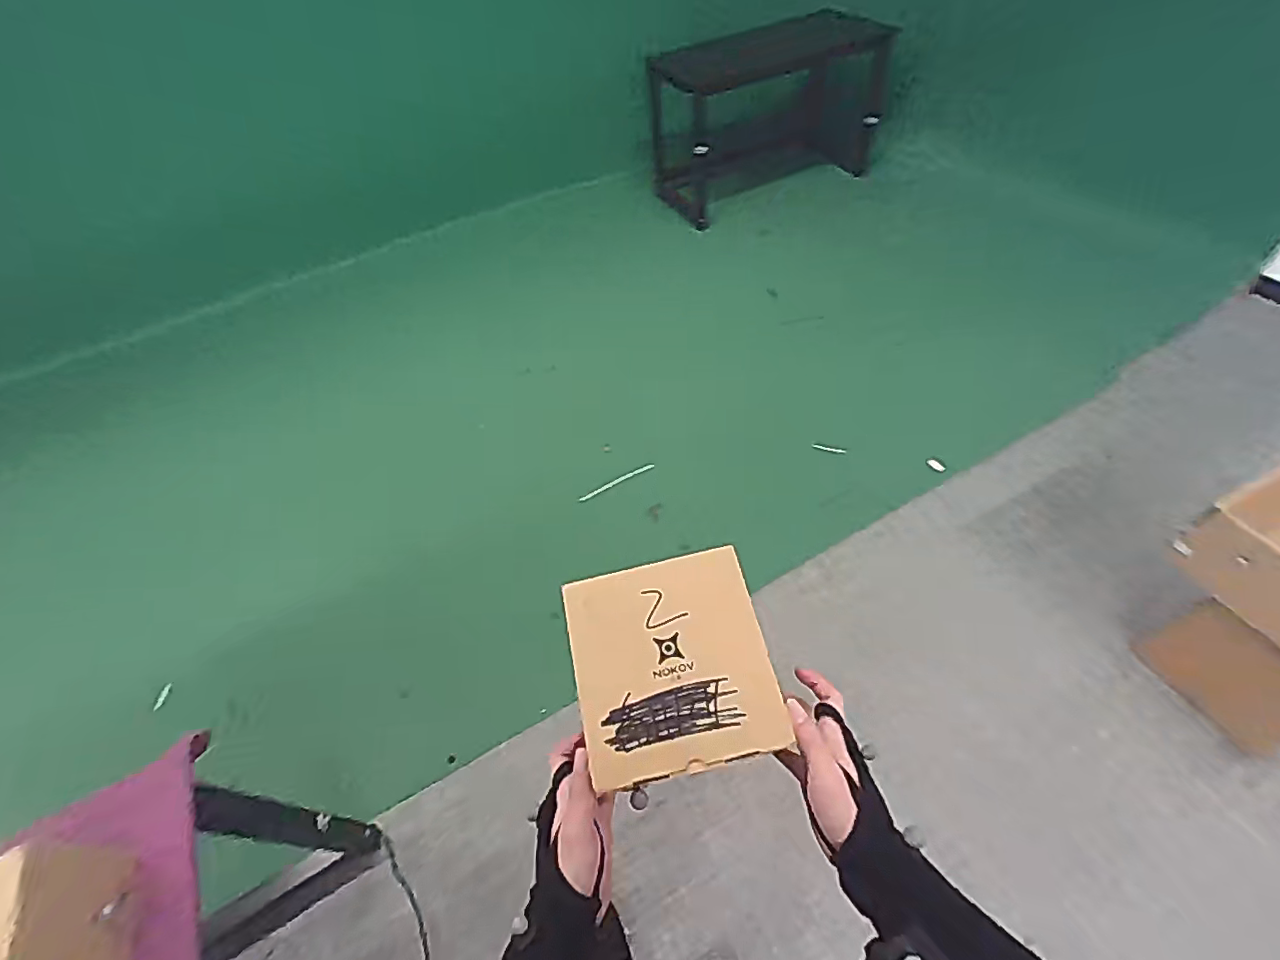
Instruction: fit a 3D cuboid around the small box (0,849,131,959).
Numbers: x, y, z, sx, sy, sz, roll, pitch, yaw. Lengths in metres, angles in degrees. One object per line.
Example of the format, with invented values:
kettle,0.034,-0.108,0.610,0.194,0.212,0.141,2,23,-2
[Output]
small box,-0.779,0.583,0.648,0.179,0.176,0.168,-26,54,-13
